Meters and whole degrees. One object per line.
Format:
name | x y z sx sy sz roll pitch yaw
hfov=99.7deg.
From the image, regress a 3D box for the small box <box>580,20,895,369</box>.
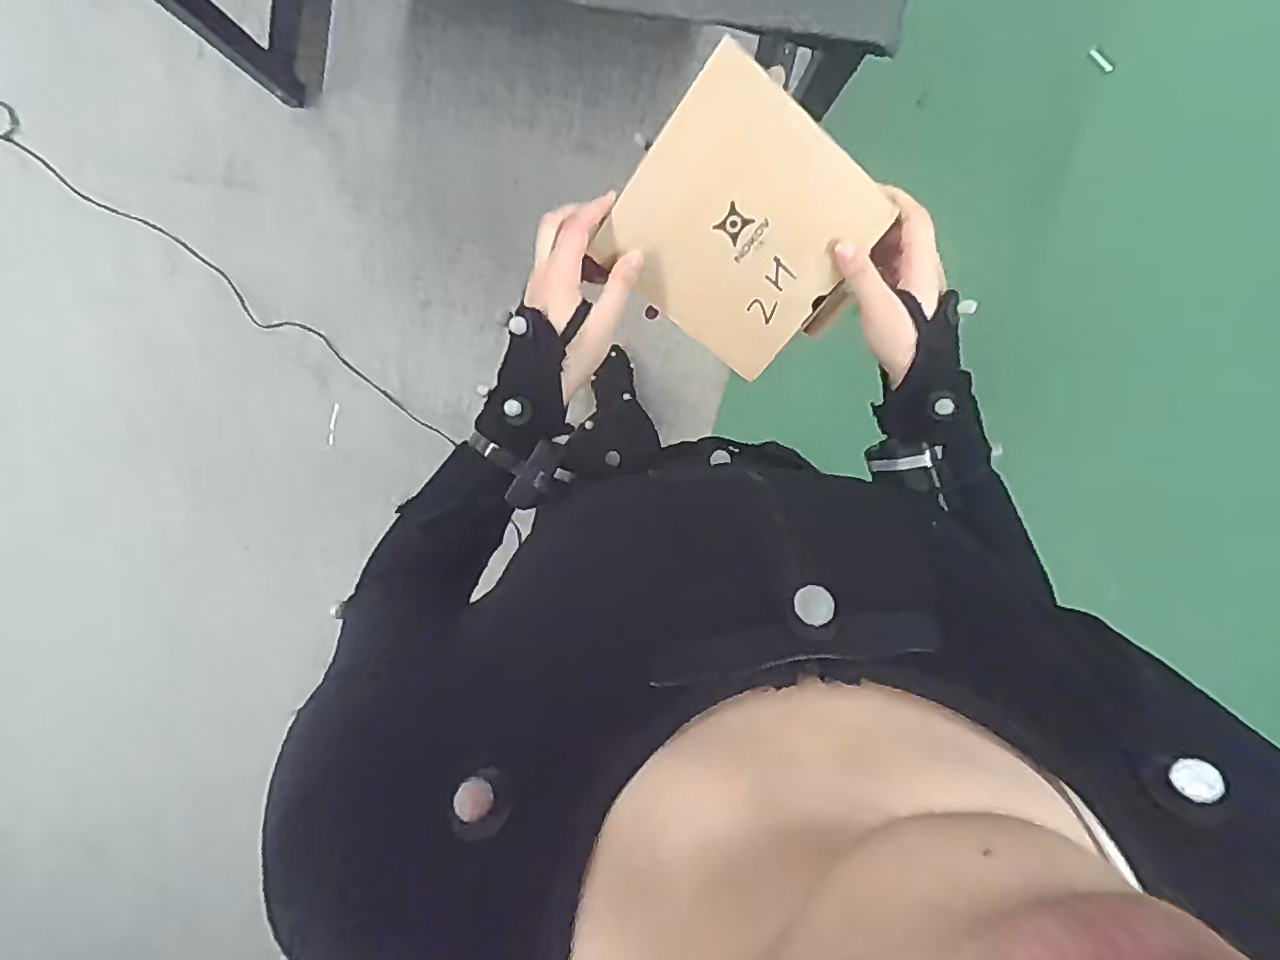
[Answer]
small box | 0.070 -0.231 0.467 0.179 0.176 0.168 33 115 -18
